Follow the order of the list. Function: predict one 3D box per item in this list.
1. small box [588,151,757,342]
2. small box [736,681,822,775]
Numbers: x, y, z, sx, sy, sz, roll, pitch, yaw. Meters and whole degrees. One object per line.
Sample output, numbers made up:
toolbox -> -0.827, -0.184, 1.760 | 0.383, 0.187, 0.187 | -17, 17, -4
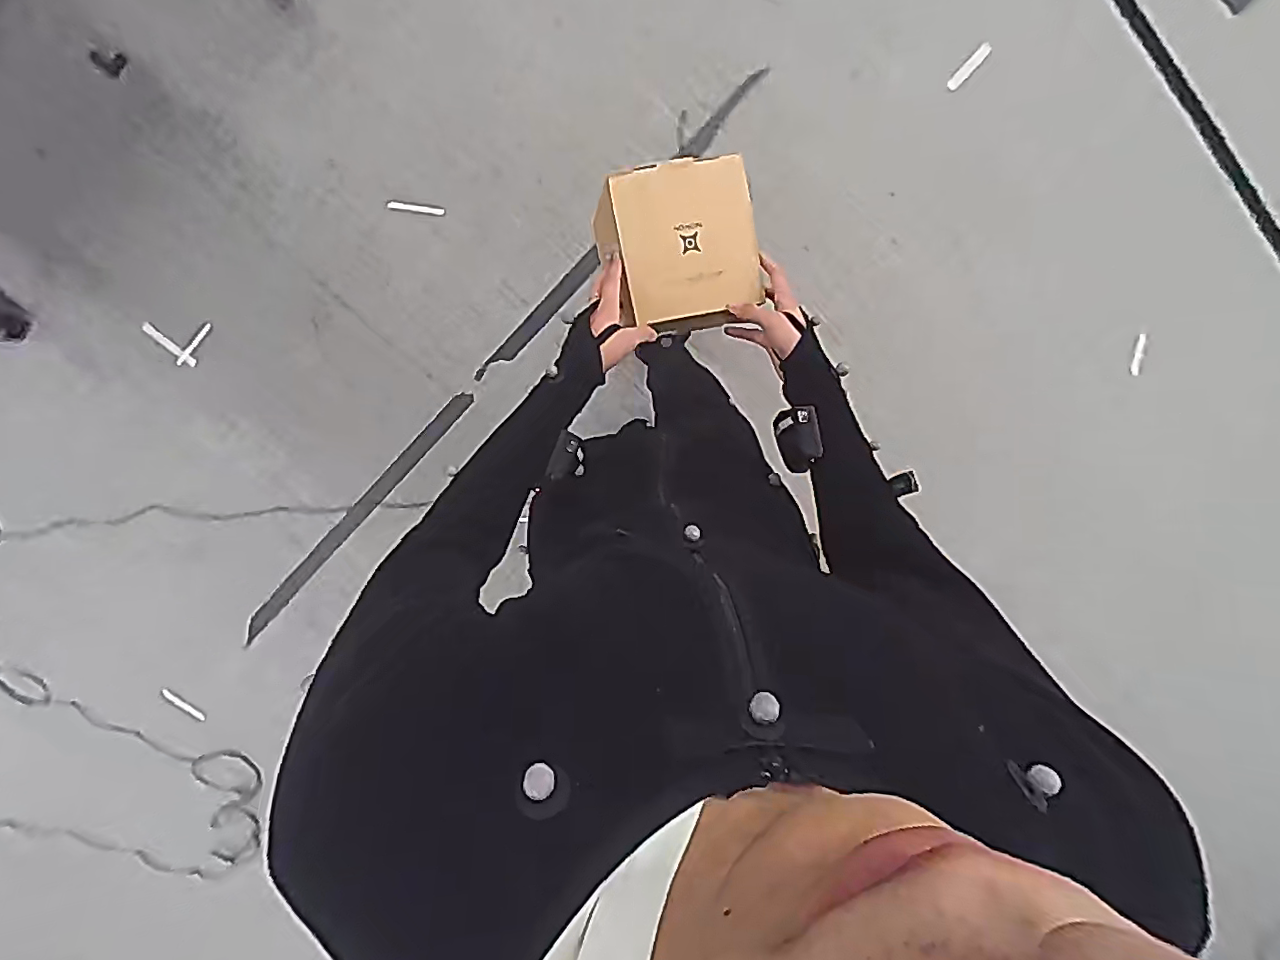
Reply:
small box -> 0.033, -0.293, 0.711 | 0.168, 0.176, 0.179 | -14, 99, -8
small box -> 0.431, 0.774, 1.707 | 0.179, 0.176, 0.168 | 43, 94, -9
